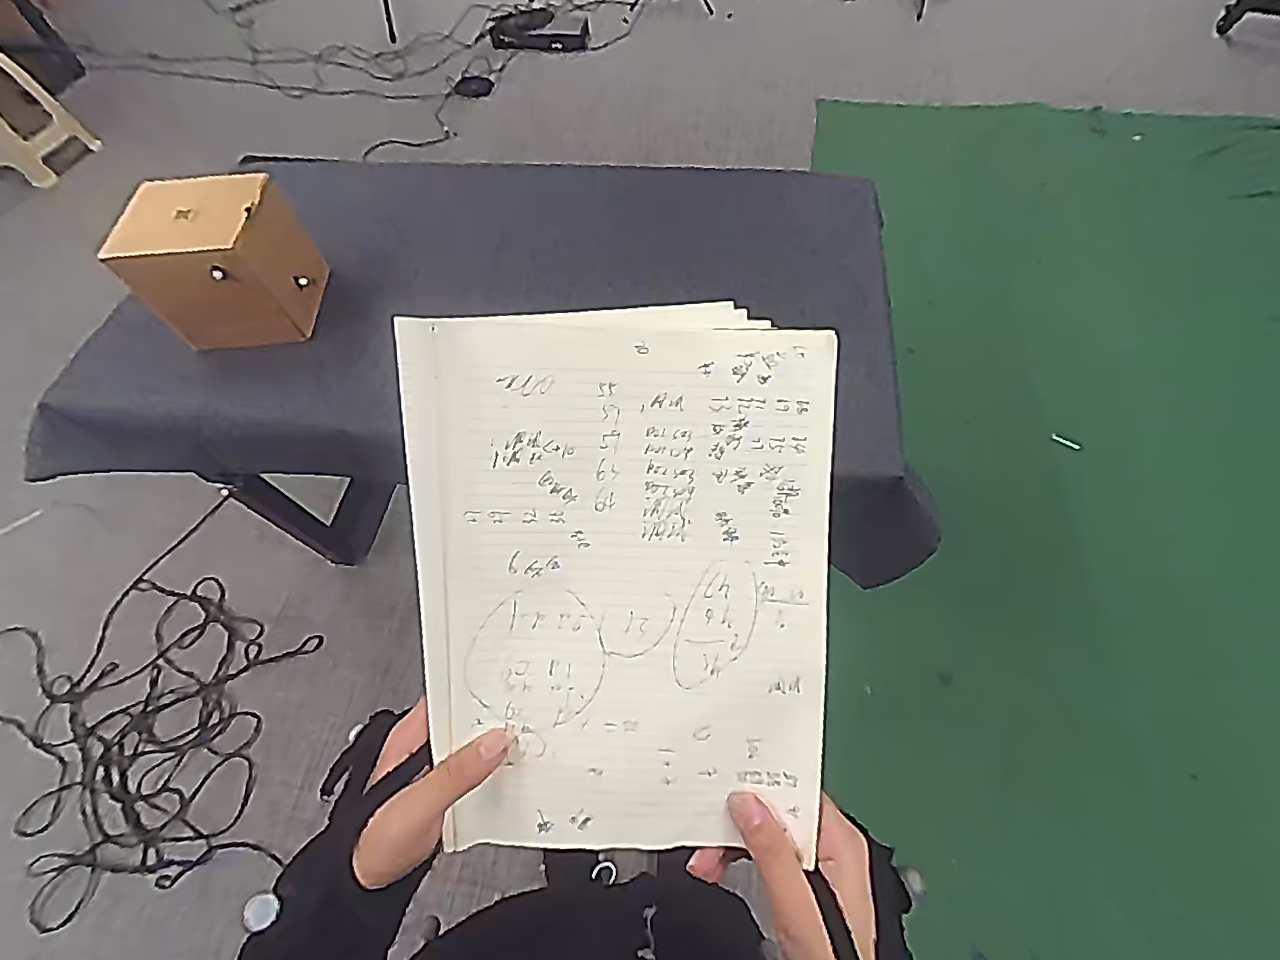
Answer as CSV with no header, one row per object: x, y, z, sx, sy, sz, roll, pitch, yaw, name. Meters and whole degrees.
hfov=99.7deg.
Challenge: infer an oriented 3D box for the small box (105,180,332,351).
-0.595,-0.307,0.794,0.179,0.176,0.168,-5,59,-1,small box
